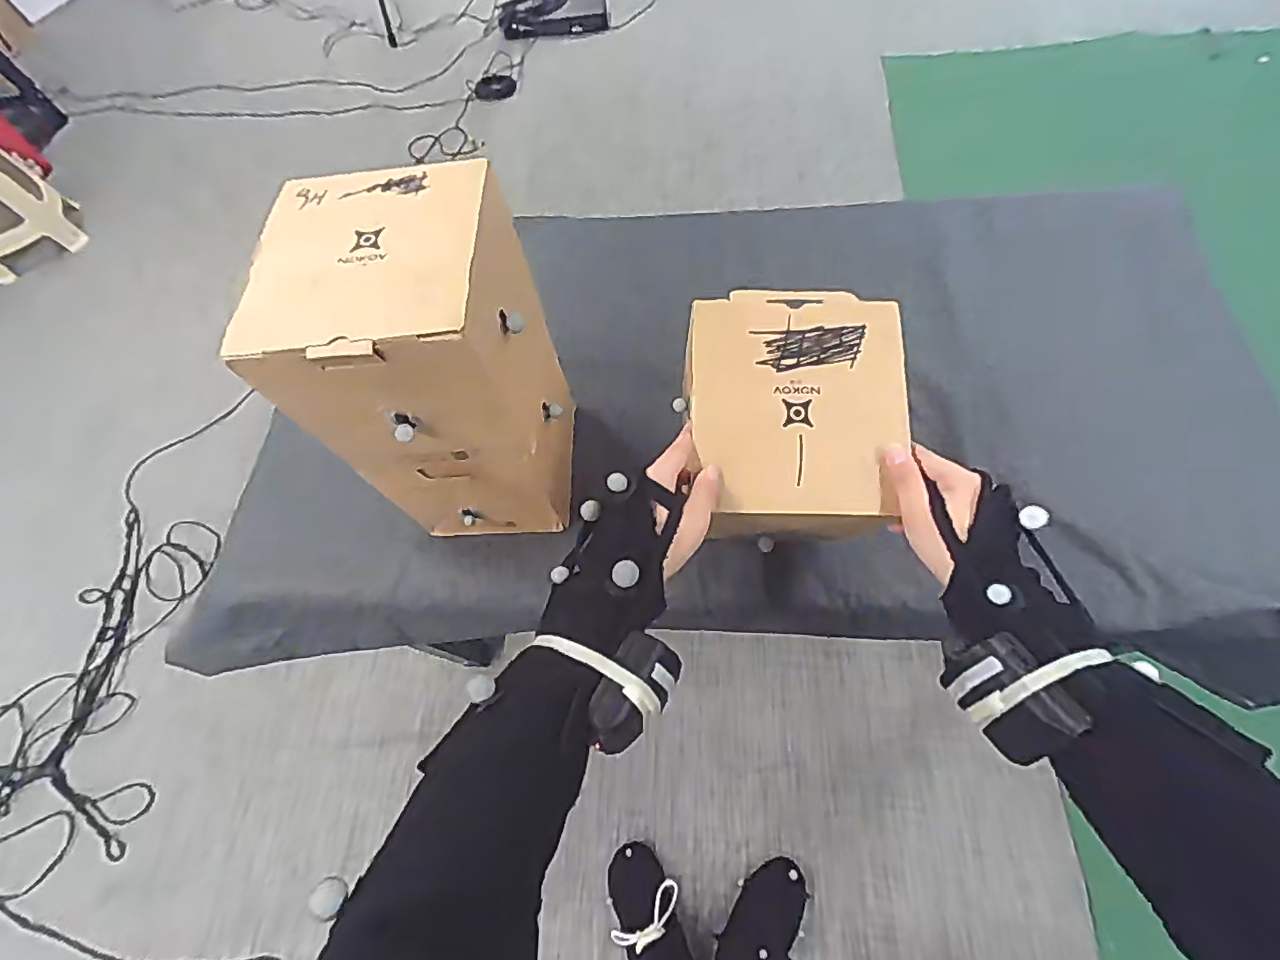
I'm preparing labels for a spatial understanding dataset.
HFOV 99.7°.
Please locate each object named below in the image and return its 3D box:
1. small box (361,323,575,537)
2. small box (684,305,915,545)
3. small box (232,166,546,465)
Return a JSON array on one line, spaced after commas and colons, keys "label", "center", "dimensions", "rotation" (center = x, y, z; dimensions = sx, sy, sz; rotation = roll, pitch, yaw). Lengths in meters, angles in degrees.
[{"label": "small box", "center": [-0.170, -0.049, 0.600], "dimensions": [0.168, 0.176, 0.179], "rotation": [-3, 63, 5]}, {"label": "small box", "center": [0.127, -0.039, 0.497], "dimensions": [0.168, 0.176, 0.179], "rotation": [1, 77, 3]}, {"label": "small box", "center": [-0.181, -0.121, 0.454], "dimensions": [0.168, 0.176, 0.179], "rotation": [-4, 64, 4]}]
